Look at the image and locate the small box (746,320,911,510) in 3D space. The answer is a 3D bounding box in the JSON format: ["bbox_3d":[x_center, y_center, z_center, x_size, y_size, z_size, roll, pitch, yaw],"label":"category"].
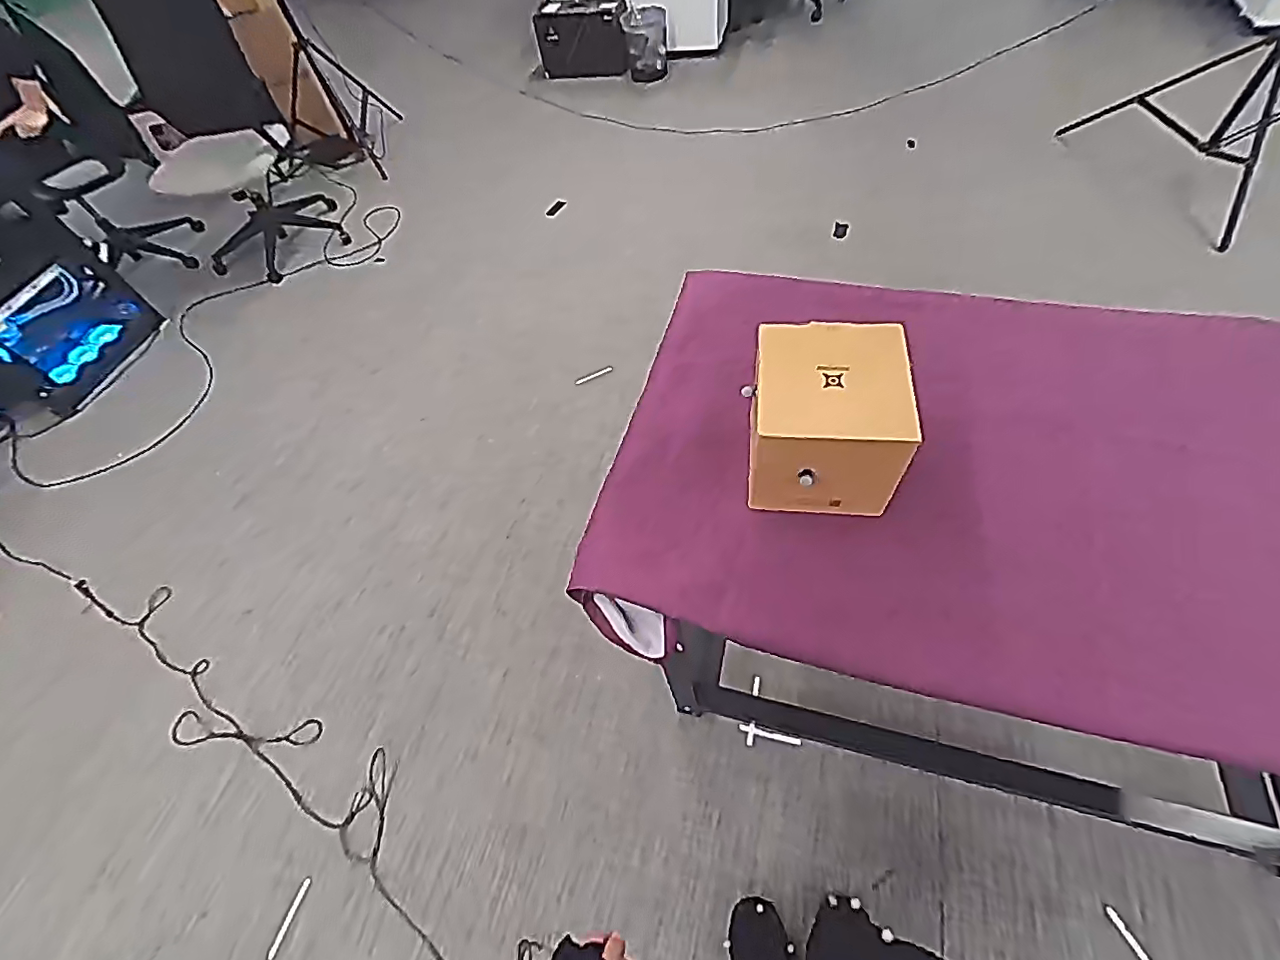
[{"bbox_3d":[0.222,-0.075,0.678,0.168,0.176,0.179,2,57,10],"label":"small box"}]
